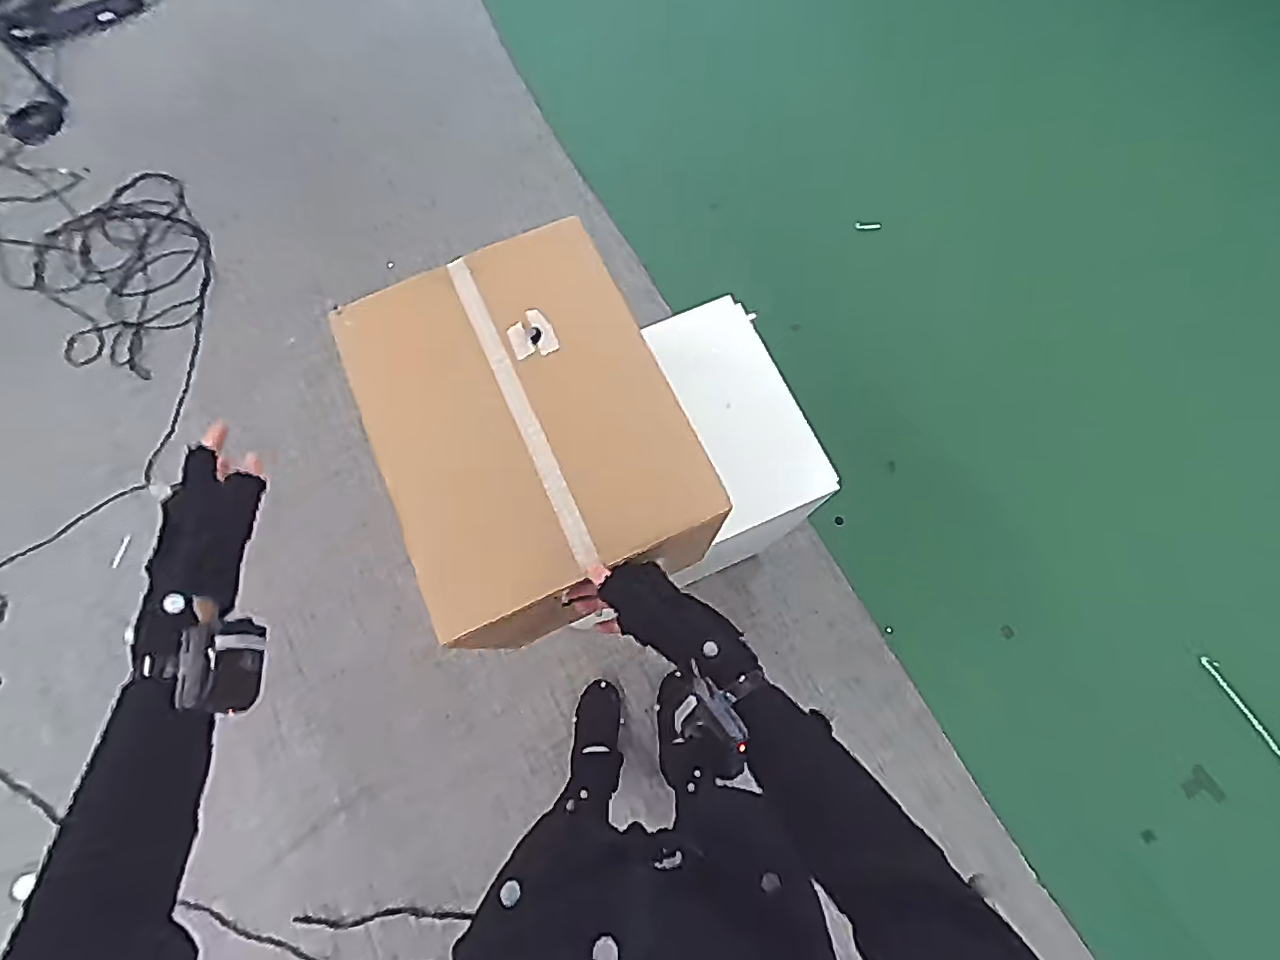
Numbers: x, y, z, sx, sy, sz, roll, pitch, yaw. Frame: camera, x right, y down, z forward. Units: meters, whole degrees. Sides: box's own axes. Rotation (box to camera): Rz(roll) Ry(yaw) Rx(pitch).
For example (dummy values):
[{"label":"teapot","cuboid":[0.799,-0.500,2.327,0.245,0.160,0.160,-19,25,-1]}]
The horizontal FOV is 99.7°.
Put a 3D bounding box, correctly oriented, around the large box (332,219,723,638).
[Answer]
[{"label":"large box","cuboid":[-0.129,-0.042,0.727,0.320,0.320,0.408,-25,73,-6]}]
